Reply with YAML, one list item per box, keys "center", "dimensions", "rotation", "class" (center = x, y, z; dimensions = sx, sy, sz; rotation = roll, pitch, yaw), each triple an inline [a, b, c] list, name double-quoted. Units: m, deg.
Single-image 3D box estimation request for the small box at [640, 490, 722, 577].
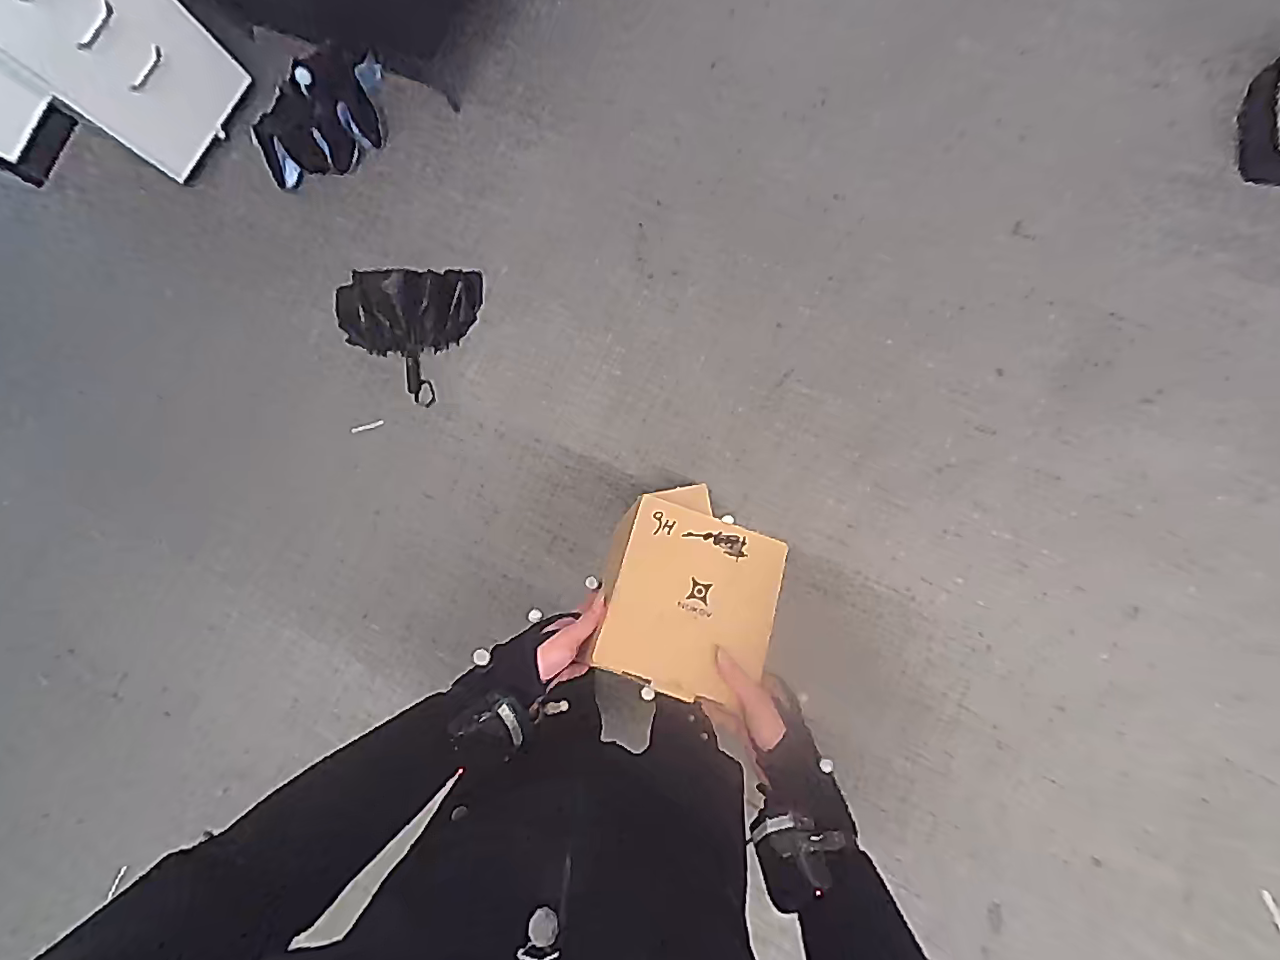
- center: [0.105, 0.134, 1.323]
  dimensions: [0.168, 0.176, 0.179]
  rotation: [-13, 79, 5]
  class: "small box"
